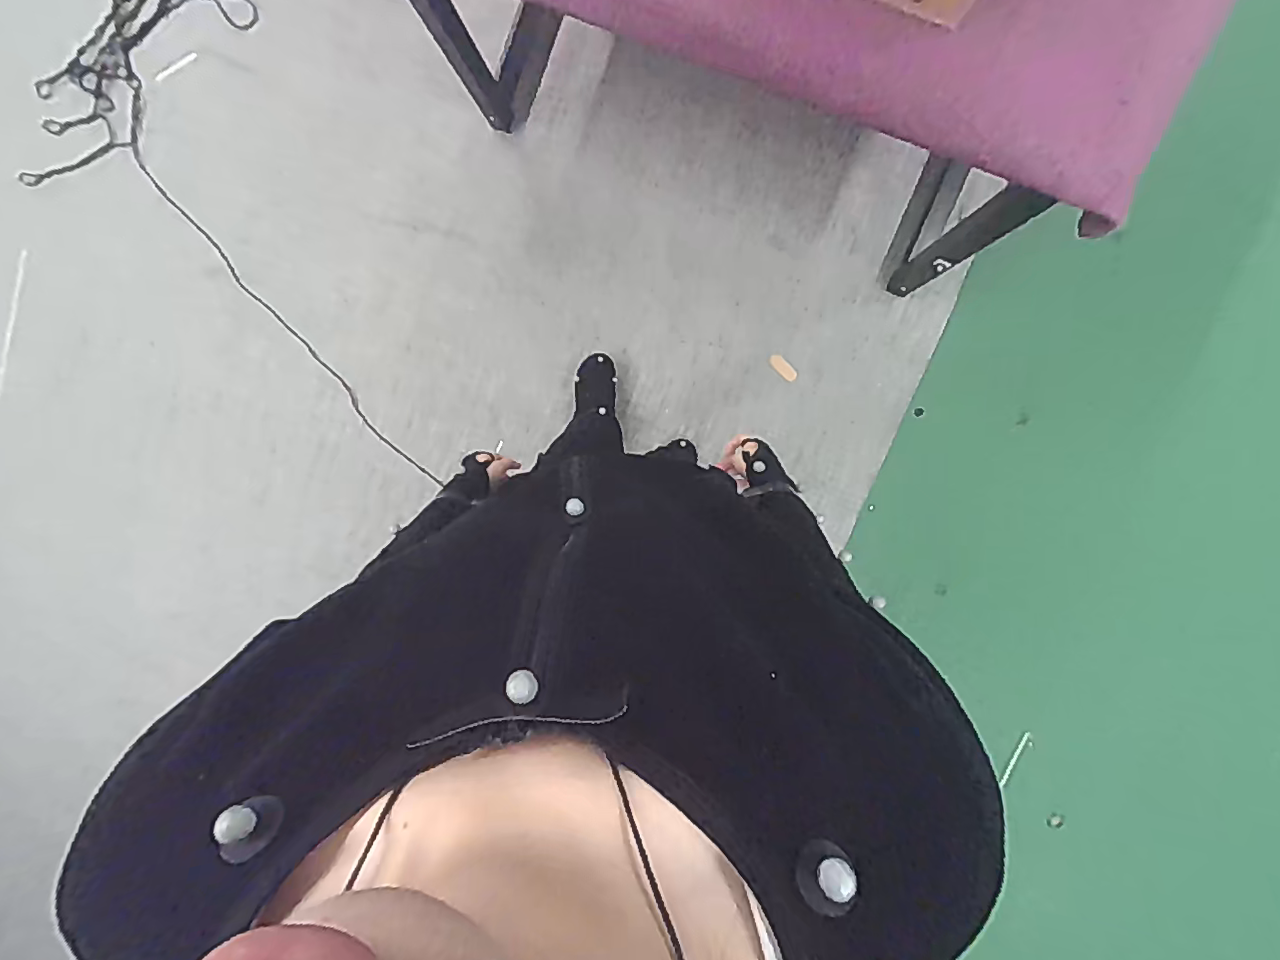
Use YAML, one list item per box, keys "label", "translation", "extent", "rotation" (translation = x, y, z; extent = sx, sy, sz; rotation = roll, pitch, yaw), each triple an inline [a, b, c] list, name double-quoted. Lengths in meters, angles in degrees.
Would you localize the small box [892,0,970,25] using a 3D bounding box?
- label: "small box"
  translation: [0.348, -0.671, 0.600]
  extent: [0.168, 0.176, 0.179]
  rotation: [24, 95, 1]
